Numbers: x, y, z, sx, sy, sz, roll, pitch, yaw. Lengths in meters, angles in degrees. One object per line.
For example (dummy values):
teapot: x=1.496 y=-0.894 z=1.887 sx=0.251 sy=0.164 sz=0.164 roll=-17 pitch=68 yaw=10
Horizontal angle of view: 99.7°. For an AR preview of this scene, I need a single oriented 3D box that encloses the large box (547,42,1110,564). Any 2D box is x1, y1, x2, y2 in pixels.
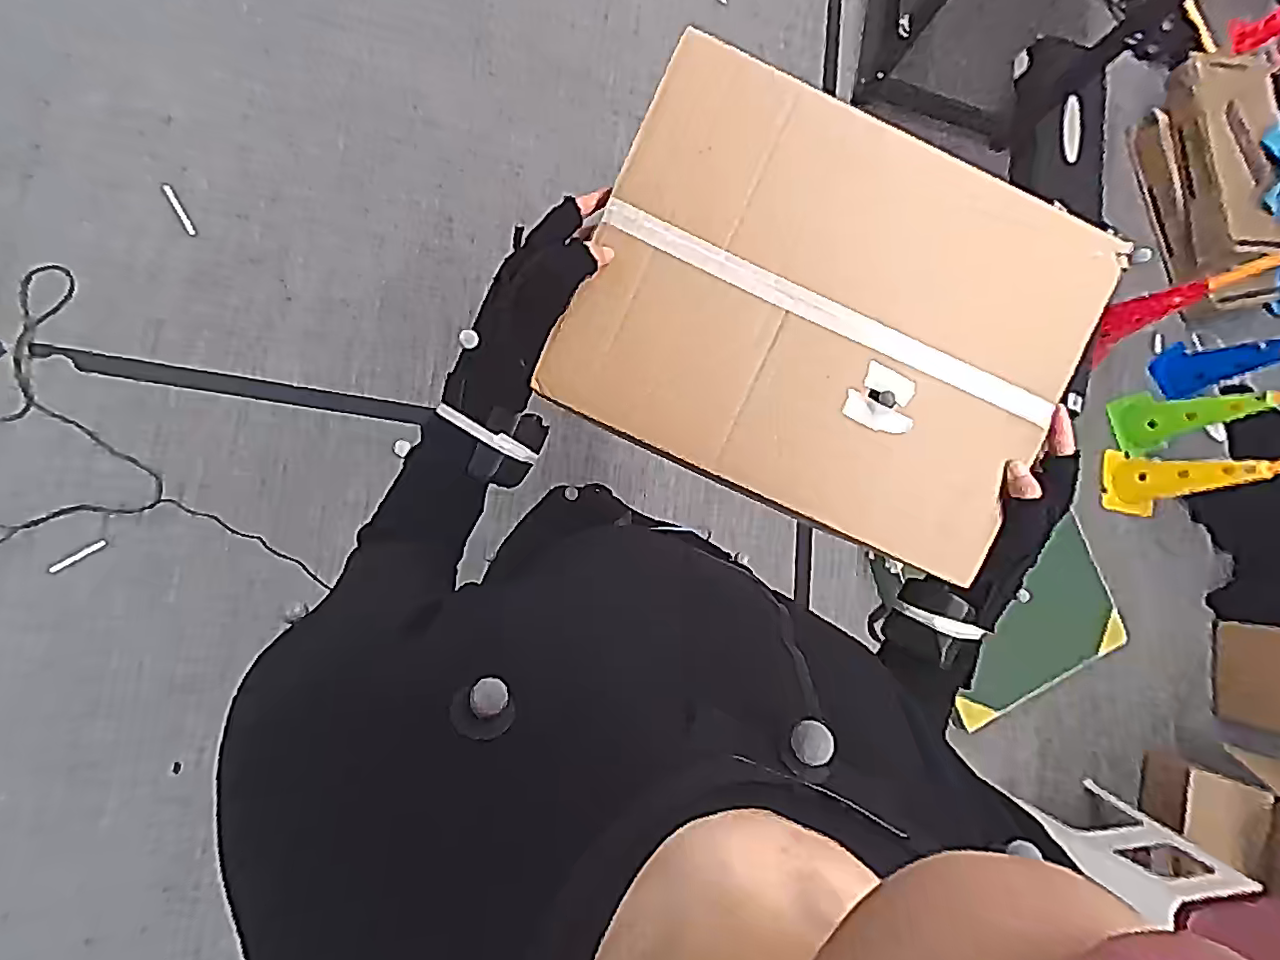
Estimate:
large box: x=0.155 y=-0.152 z=0.605 sx=0.408 sy=0.320 sz=0.320 roll=25 pitch=94 yaw=-3
